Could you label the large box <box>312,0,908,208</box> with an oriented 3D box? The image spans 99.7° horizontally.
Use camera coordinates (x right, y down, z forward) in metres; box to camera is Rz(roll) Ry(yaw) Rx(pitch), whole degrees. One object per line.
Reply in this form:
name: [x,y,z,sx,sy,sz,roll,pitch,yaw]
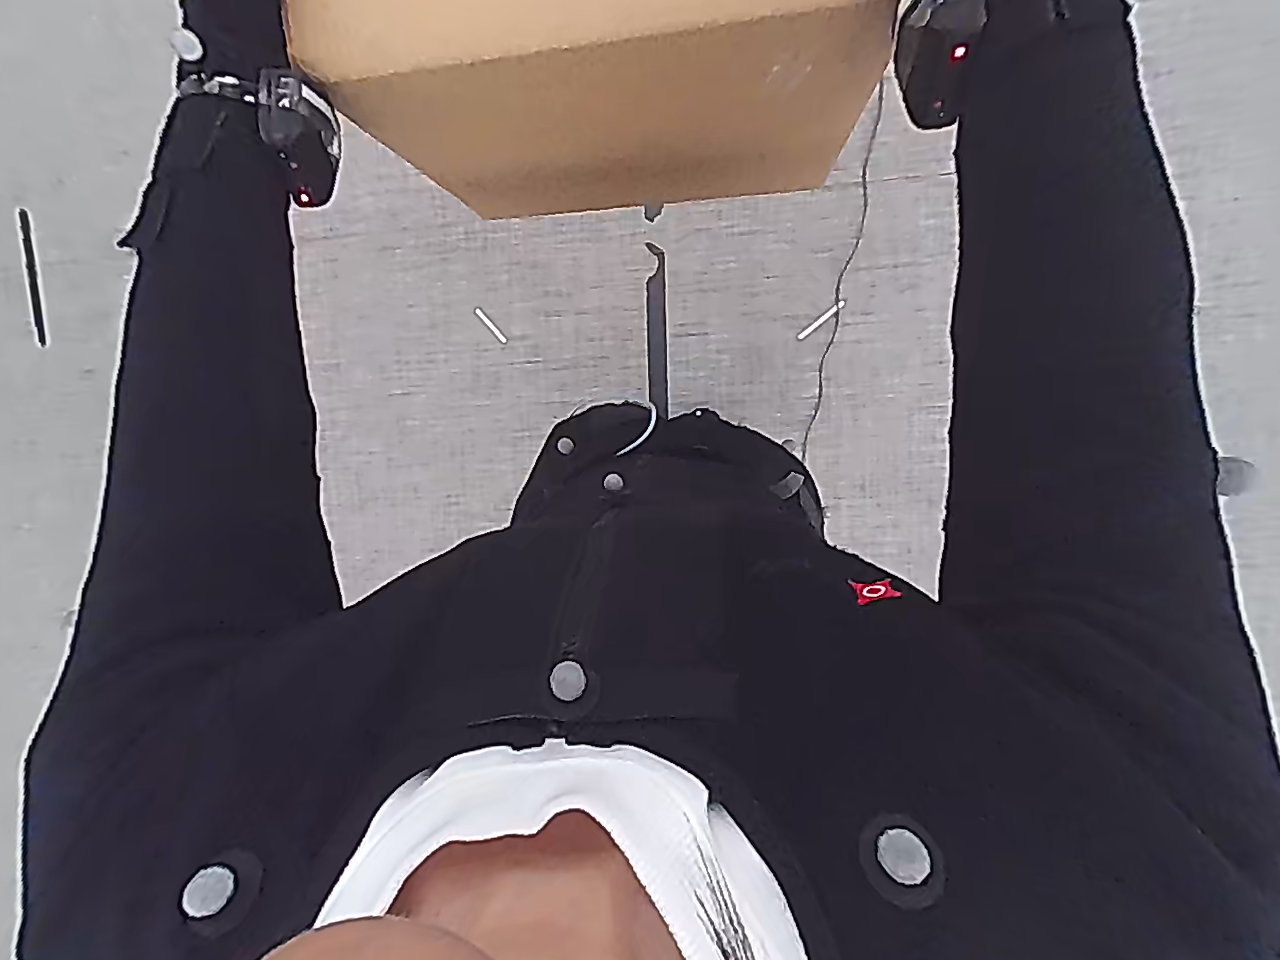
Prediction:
large box: [-0.017,-0.465,0.469,0.408,0.320,0.320,-2,100,7]
